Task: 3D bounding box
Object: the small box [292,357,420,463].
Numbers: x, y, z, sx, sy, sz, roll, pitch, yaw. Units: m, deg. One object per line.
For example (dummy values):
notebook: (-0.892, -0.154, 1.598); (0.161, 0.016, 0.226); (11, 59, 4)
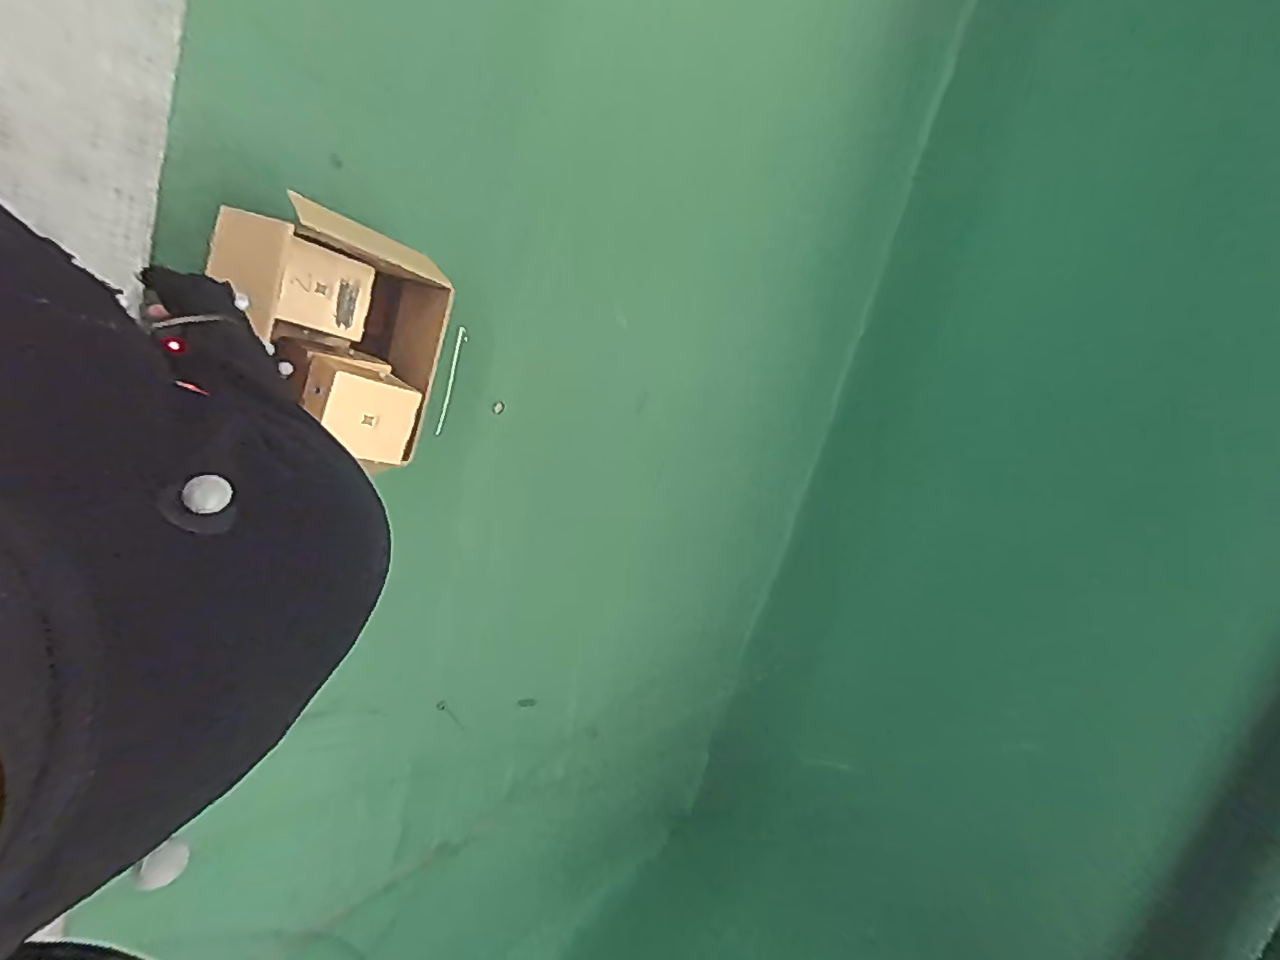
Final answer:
small box: (-0.606, -0.150, 1.146); (0.179, 0.176, 0.168); (12, 101, -50)
